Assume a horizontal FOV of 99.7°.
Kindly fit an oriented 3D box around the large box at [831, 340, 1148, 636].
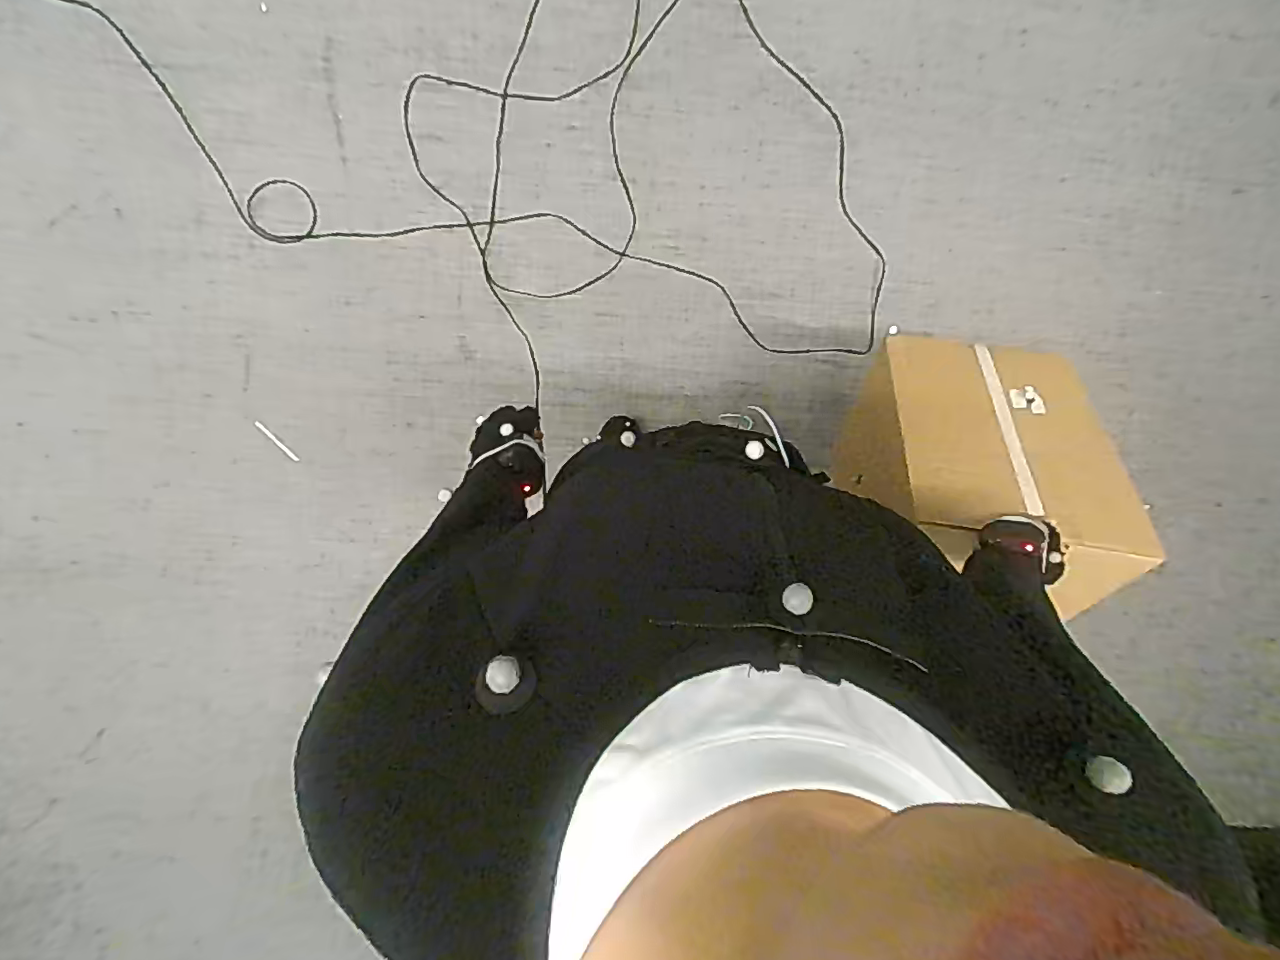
[{"bbox_3d":[0.544,0.013,0.955,0.320,0.408,0.320,9,142,4],"label":"large box"}]
